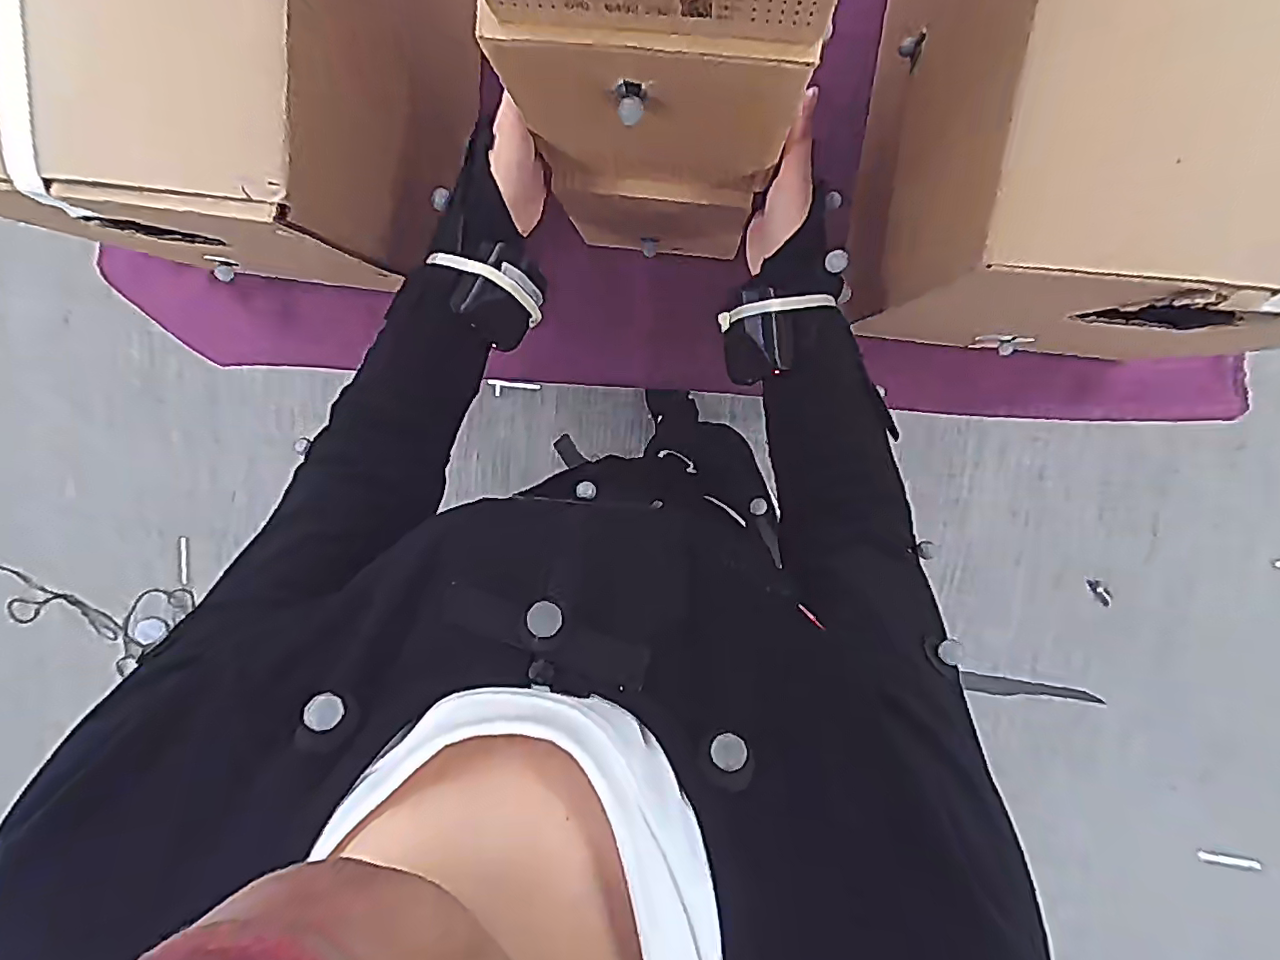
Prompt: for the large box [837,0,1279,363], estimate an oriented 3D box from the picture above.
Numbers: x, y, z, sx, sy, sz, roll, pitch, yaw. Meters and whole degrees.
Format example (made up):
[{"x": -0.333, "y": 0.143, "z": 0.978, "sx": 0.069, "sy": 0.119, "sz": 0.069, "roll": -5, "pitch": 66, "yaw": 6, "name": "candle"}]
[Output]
[{"x": 0.364, "y": -0.311, "z": 0.405, "sx": 0.320, "sy": 0.320, "sz": 0.408, "roll": 7, "pitch": 98, "yaw": 3, "name": "large box"}]
